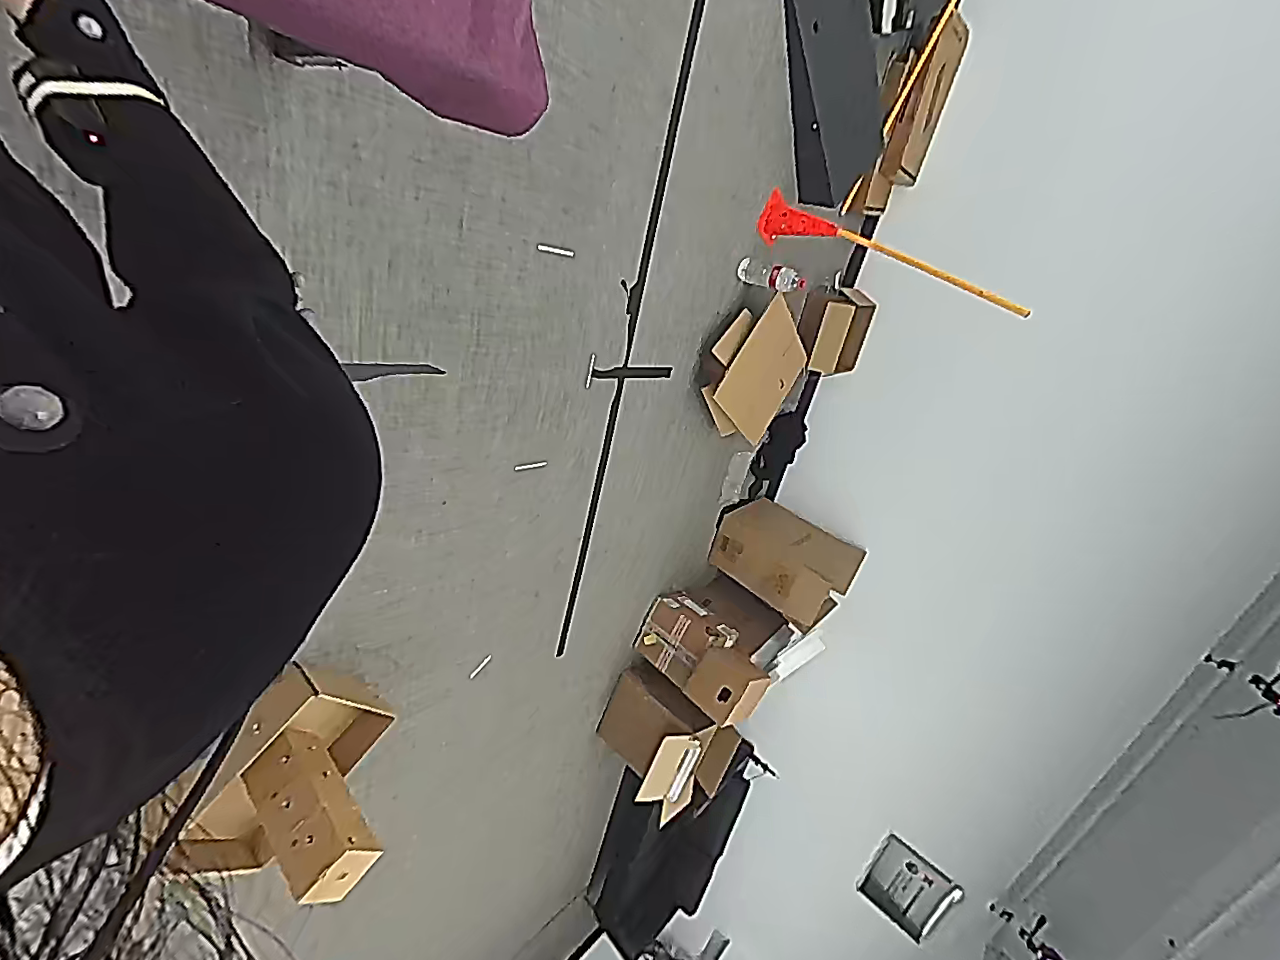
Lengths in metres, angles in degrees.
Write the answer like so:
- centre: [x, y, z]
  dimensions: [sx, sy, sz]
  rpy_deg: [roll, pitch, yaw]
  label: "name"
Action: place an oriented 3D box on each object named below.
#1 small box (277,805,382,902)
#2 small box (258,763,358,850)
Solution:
- centre: [-0.907, 1.087, 1.583]
  dimensions: [0.168, 0.176, 0.179]
  rpy_deg: [-47, 146, -17]
  label: "small box"
- centre: [-1.023, 1.006, 1.664]
  dimensions: [0.168, 0.176, 0.179]
  rpy_deg: [-46, 145, -18]
  label: "small box"
